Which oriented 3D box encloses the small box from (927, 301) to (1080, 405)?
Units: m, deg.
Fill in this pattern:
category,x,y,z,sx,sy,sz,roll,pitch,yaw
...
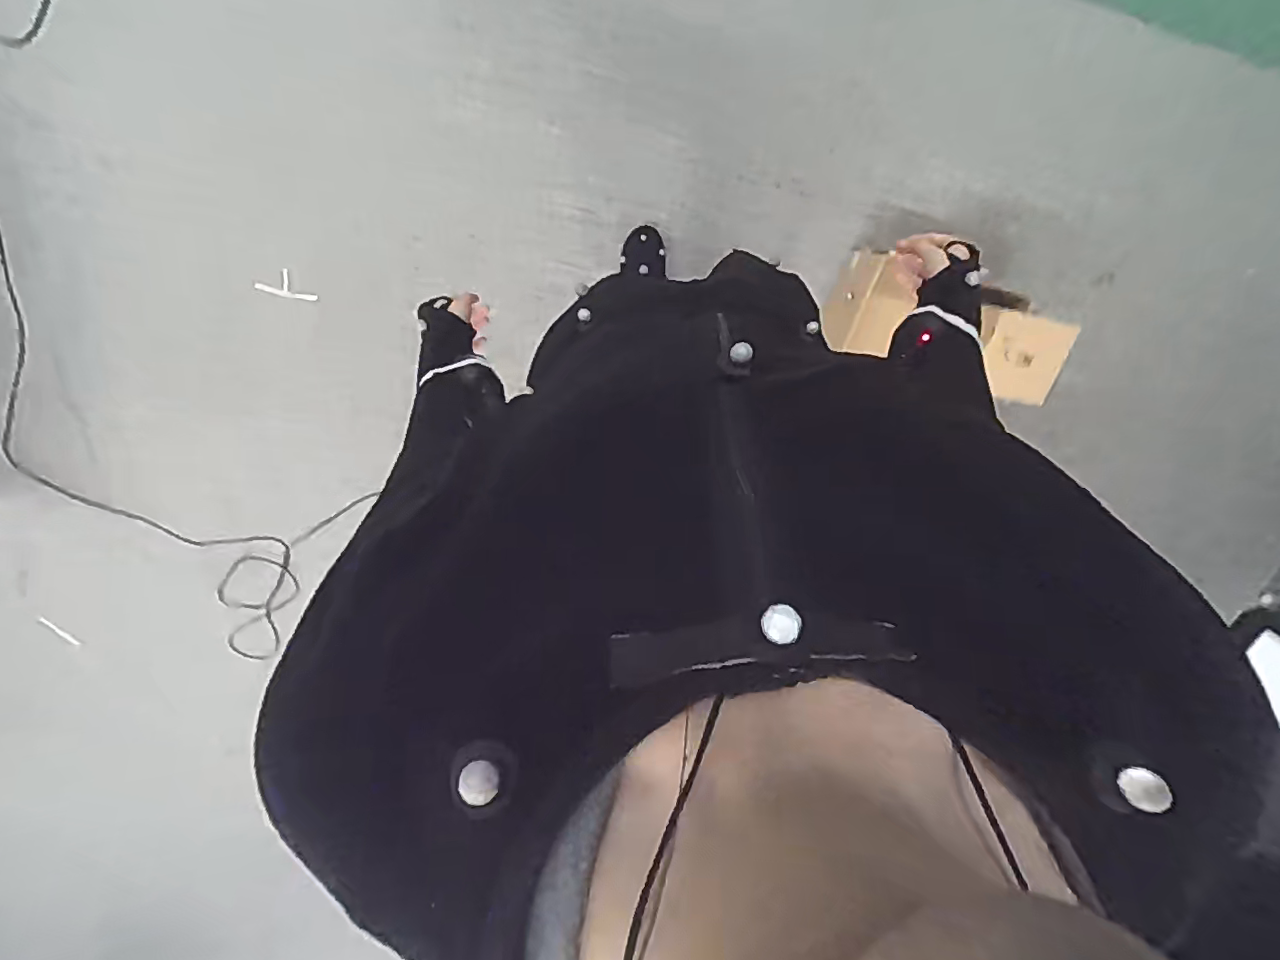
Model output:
category,x,y,z,sx,sy,sz,roll,pitch,yaw
small box,0.761,-0.277,1.154,0.179,0.176,0.168,11,113,-7
